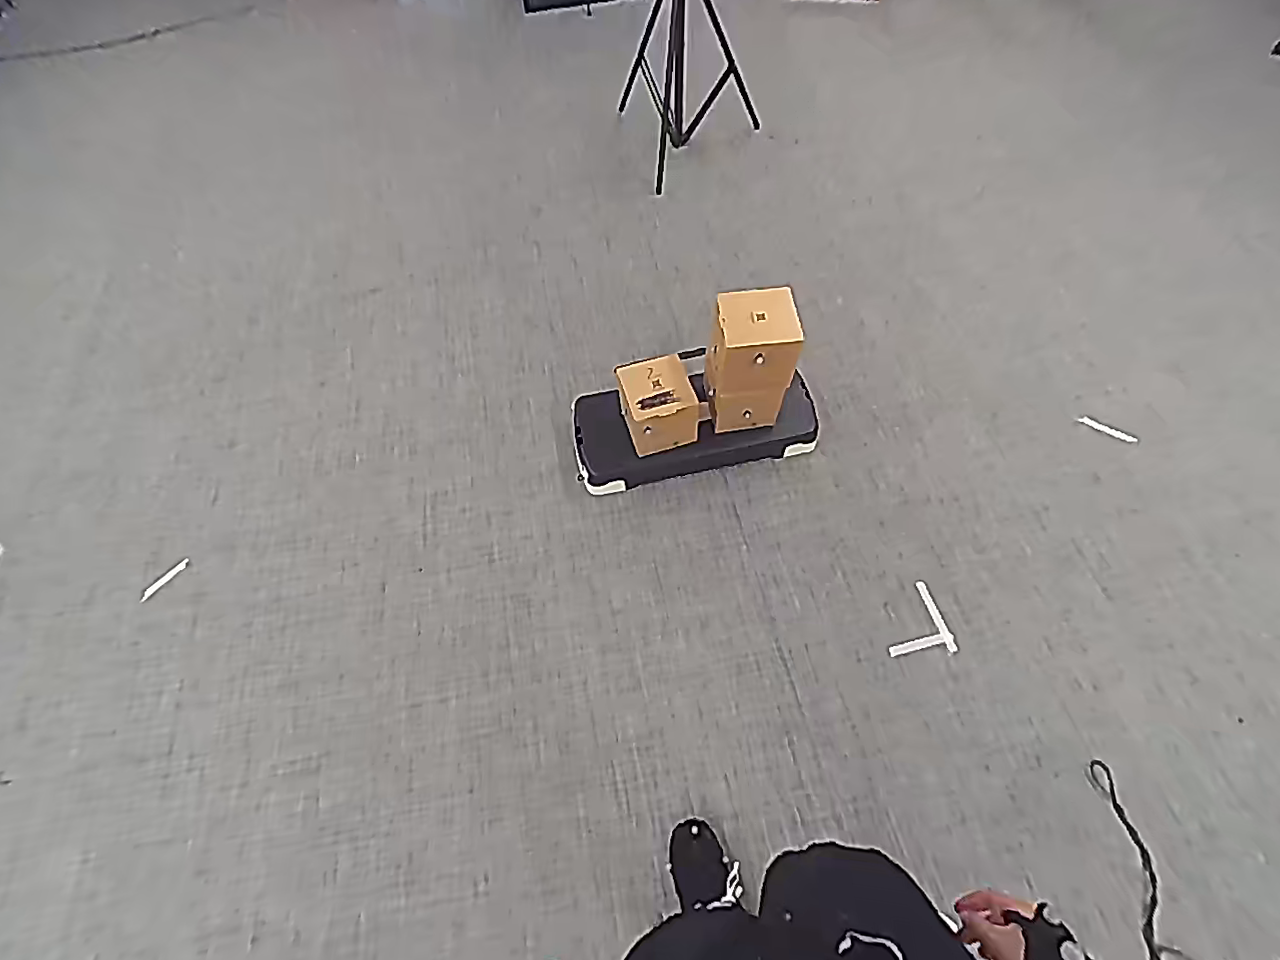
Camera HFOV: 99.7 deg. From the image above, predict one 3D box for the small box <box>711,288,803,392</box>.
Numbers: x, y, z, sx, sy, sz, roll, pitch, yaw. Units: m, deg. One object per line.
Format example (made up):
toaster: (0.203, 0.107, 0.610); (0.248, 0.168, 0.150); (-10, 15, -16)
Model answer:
small box: (0.269, -0.327, 1.283); (0.179, 0.176, 0.168); (-6, 63, 1)

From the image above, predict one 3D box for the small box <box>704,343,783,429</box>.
small box: (0.266, -0.249, 1.427); (0.168, 0.176, 0.179); (-8, 62, -1)
